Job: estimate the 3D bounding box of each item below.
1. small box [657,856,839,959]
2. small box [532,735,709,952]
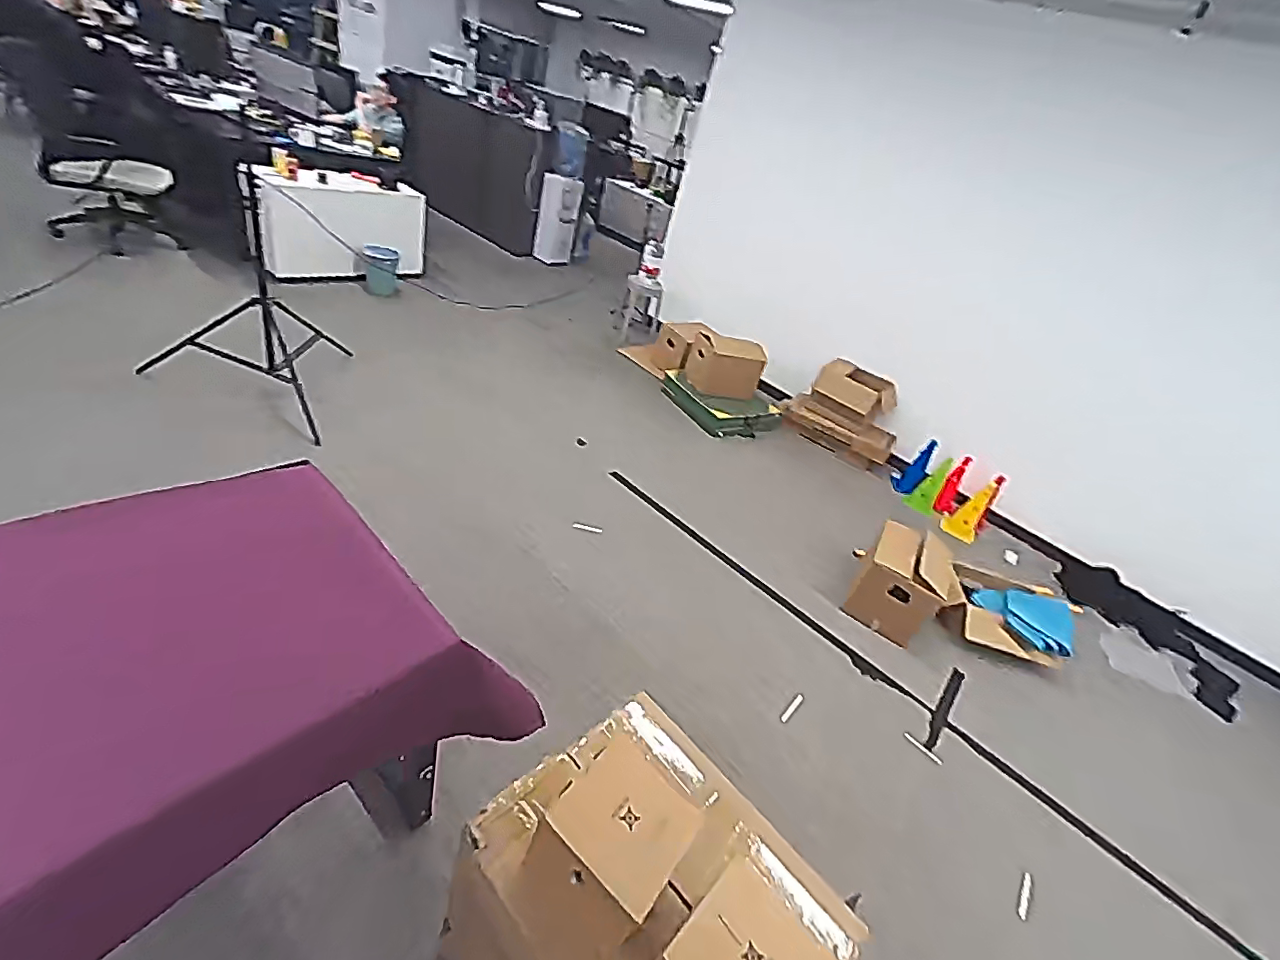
[{"bbox_3d":[0.124,0.640,0.684,0.179,0.176,0.168,36,38,29],"label":"small box"},{"bbox_3d":[-0.035,0.522,0.782,0.179,0.176,0.168,36,38,23],"label":"small box"}]
